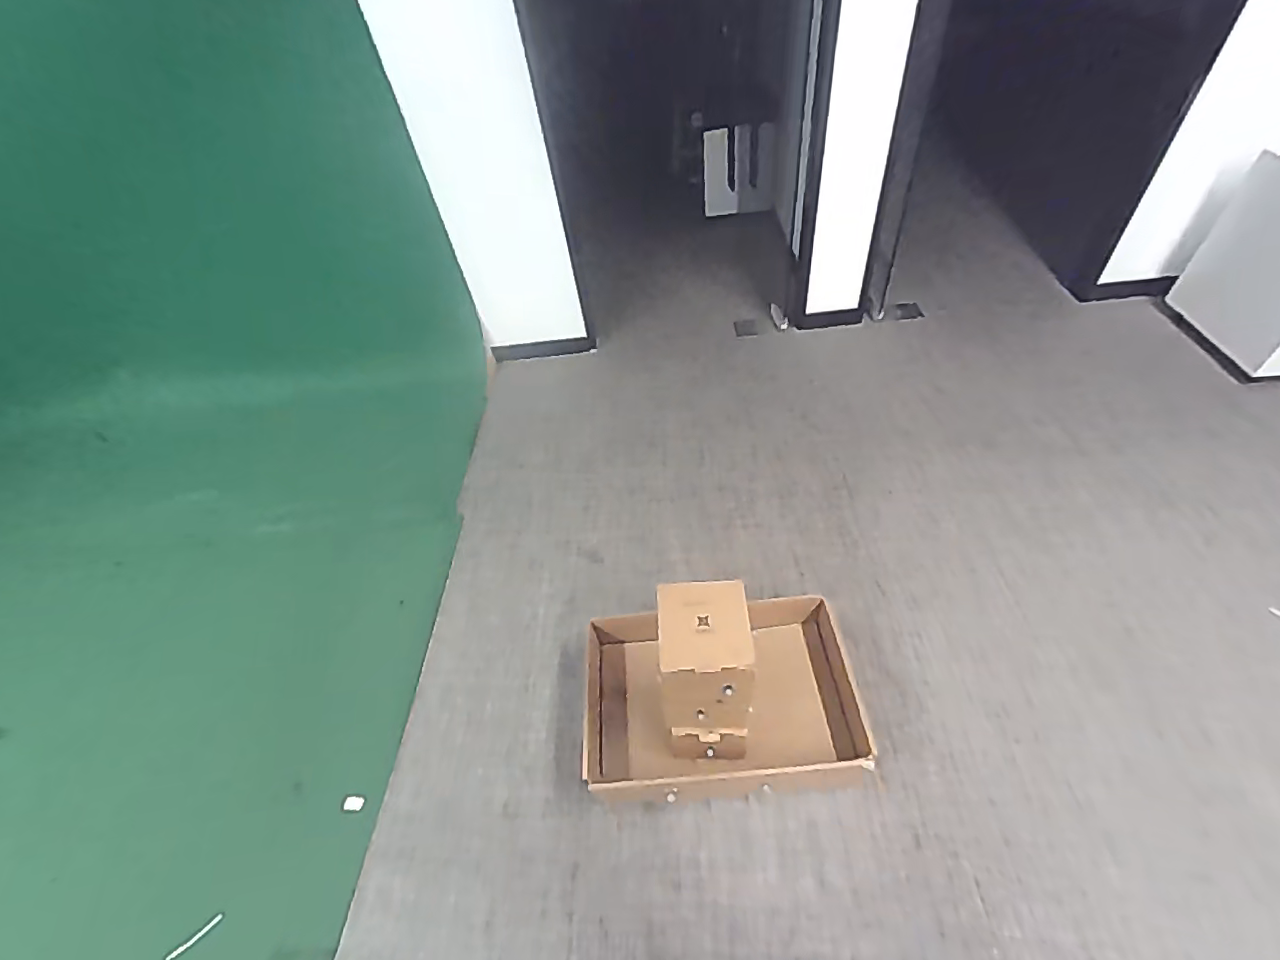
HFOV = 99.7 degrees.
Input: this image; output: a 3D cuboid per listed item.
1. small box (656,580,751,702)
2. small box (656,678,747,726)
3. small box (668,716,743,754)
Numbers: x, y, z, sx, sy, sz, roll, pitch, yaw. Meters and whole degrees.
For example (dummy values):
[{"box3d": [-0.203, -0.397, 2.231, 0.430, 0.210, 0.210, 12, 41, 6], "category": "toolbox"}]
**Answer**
[{"box3d": [0.118, 0.311, 1.032, 0.168, 0.176, 0.179, -3, 46, 4], "category": "small box"}, {"box3d": [0.135, 0.413, 1.157, 0.179, 0.176, 0.168, 0, 47, 9], "category": "small box"}, {"box3d": [0.155, 0.530, 1.271, 0.168, 0.176, 0.179, -1, 48, 6], "category": "small box"}]
